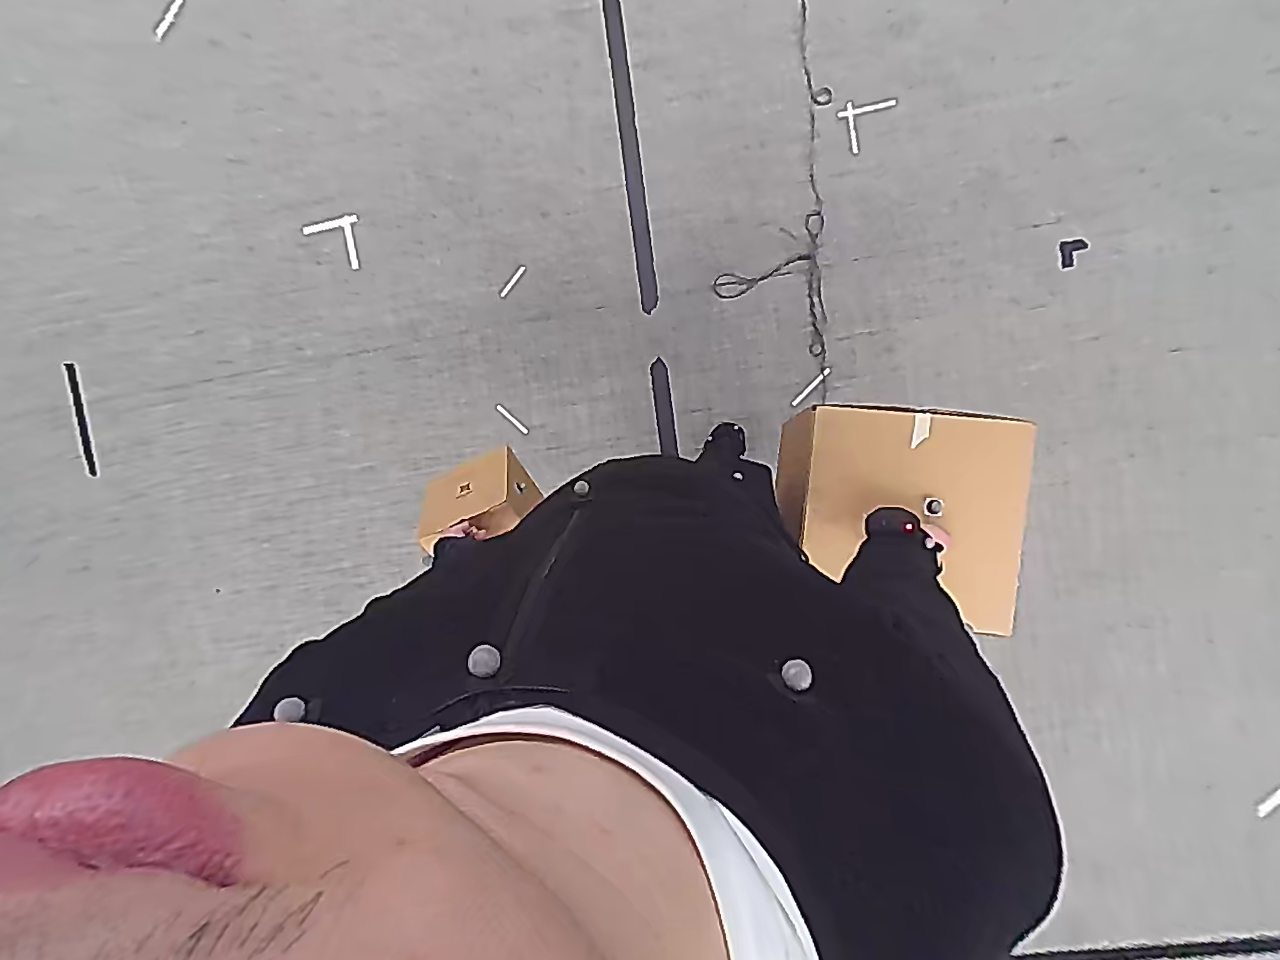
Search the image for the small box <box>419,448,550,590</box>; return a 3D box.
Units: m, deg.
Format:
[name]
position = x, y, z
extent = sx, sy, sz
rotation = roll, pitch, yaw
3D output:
[small box]
position = -0.275, 0.078, 0.991
extent = 0.168, 0.179, 0.176
rotation = -23, 128, 4
